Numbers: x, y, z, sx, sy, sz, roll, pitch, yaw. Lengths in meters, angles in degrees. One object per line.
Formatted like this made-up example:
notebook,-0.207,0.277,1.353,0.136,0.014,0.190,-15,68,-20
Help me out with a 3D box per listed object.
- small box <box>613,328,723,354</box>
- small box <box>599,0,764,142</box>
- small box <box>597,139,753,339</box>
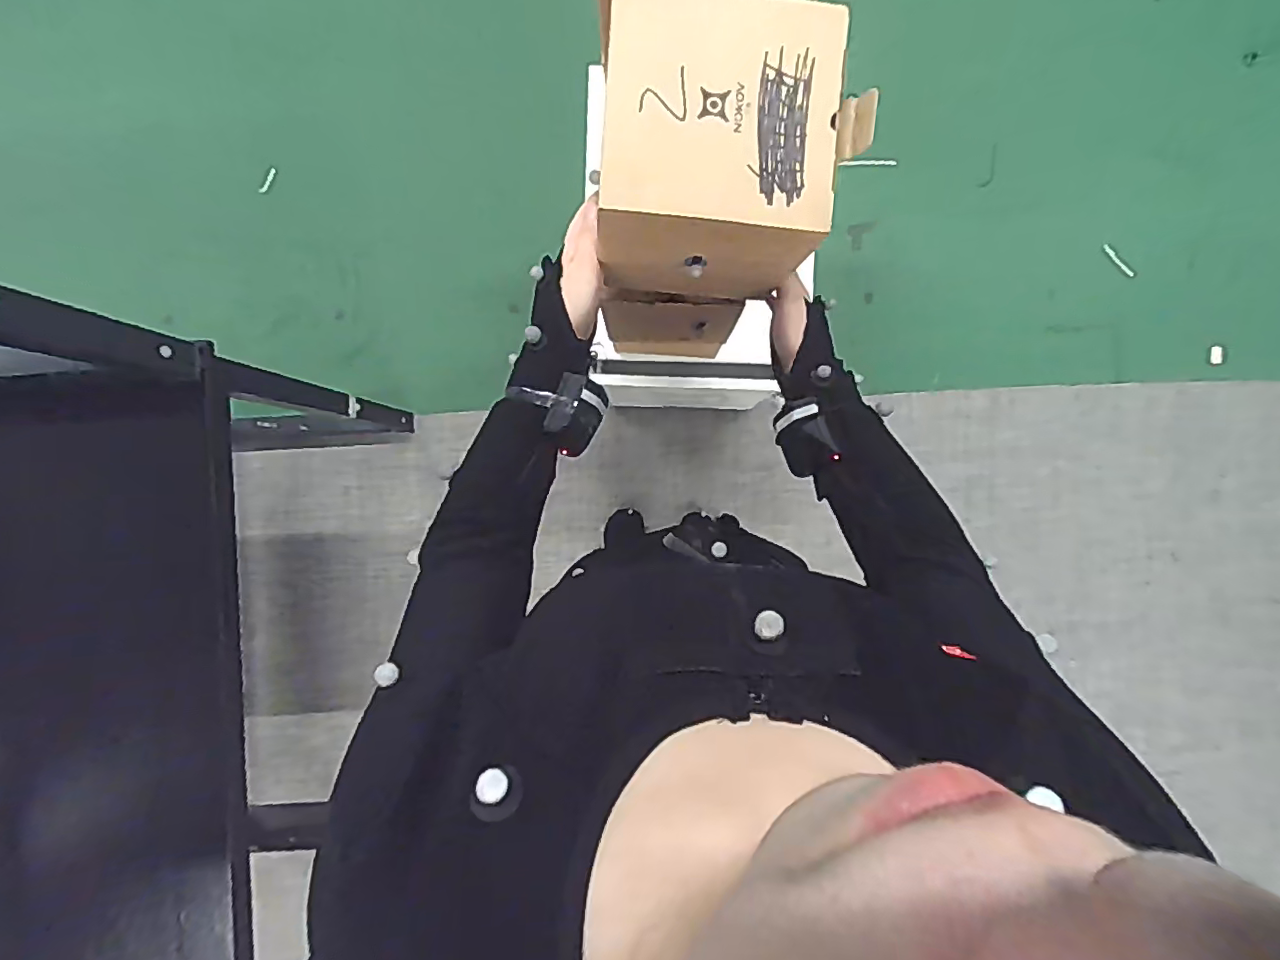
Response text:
small box,0.048,-0.296,0.826,0.179,0.176,0.168,4,89,0
small box,0.050,-0.531,0.666,0.179,0.176,0.168,5,90,0
small box,0.039,-0.280,0.664,0.168,0.176,0.179,1,89,0
